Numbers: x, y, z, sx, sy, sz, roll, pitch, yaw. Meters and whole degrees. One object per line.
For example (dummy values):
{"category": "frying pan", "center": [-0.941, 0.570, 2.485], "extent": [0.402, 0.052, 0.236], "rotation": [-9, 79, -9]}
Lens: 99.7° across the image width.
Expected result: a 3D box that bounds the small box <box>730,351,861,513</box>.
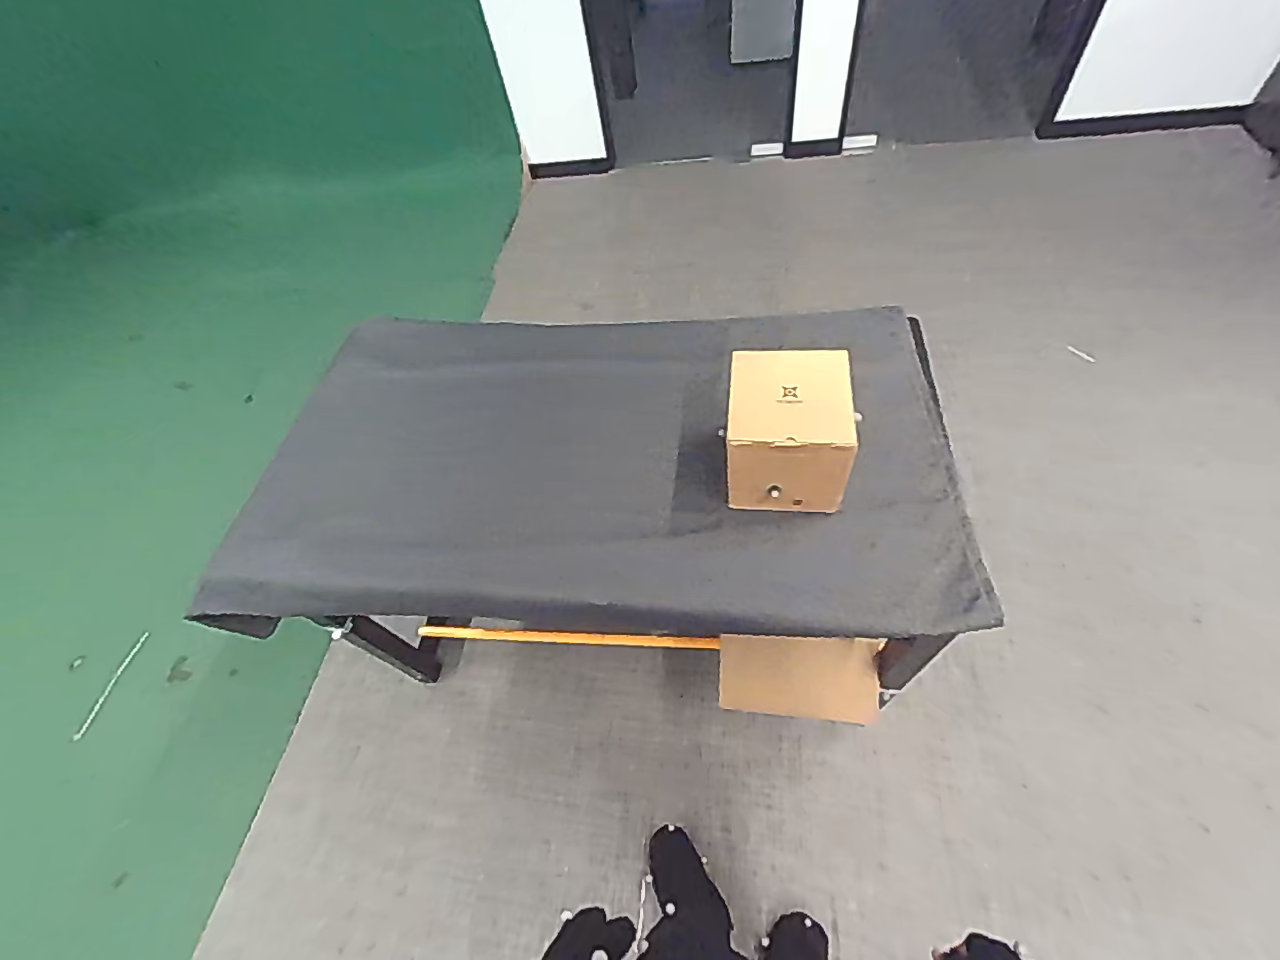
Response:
{"category": "small box", "center": [0.223, -0.072, 0.810], "extent": [0.168, 0.176, 0.179], "rotation": [2, 56, 11]}
